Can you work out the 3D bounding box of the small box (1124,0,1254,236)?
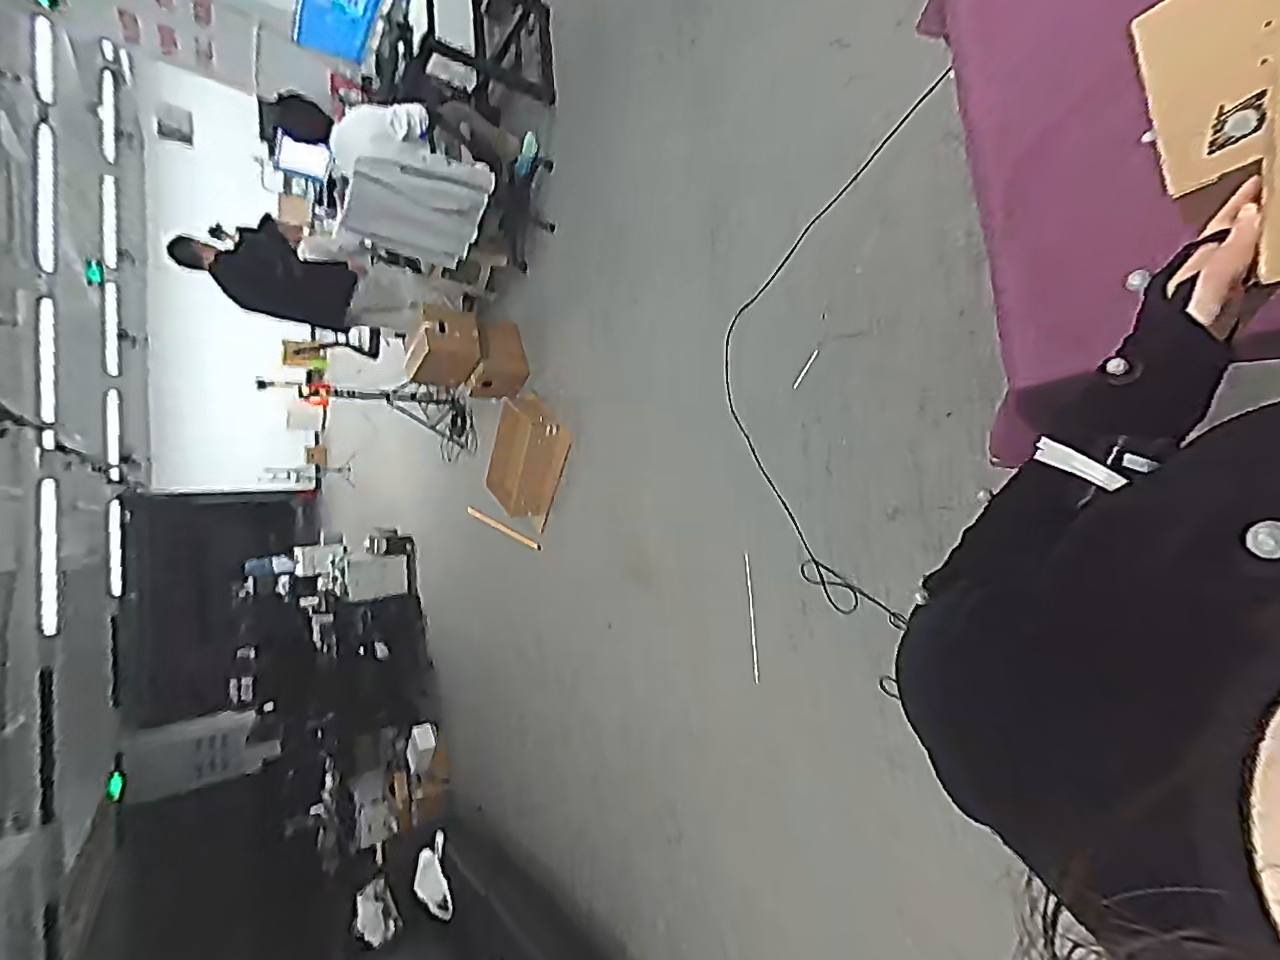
[{"bbox_3d":[0.569,-0.342,0.478,0.168,0.176,0.179,-13,79,51],"label":"small box"}]
